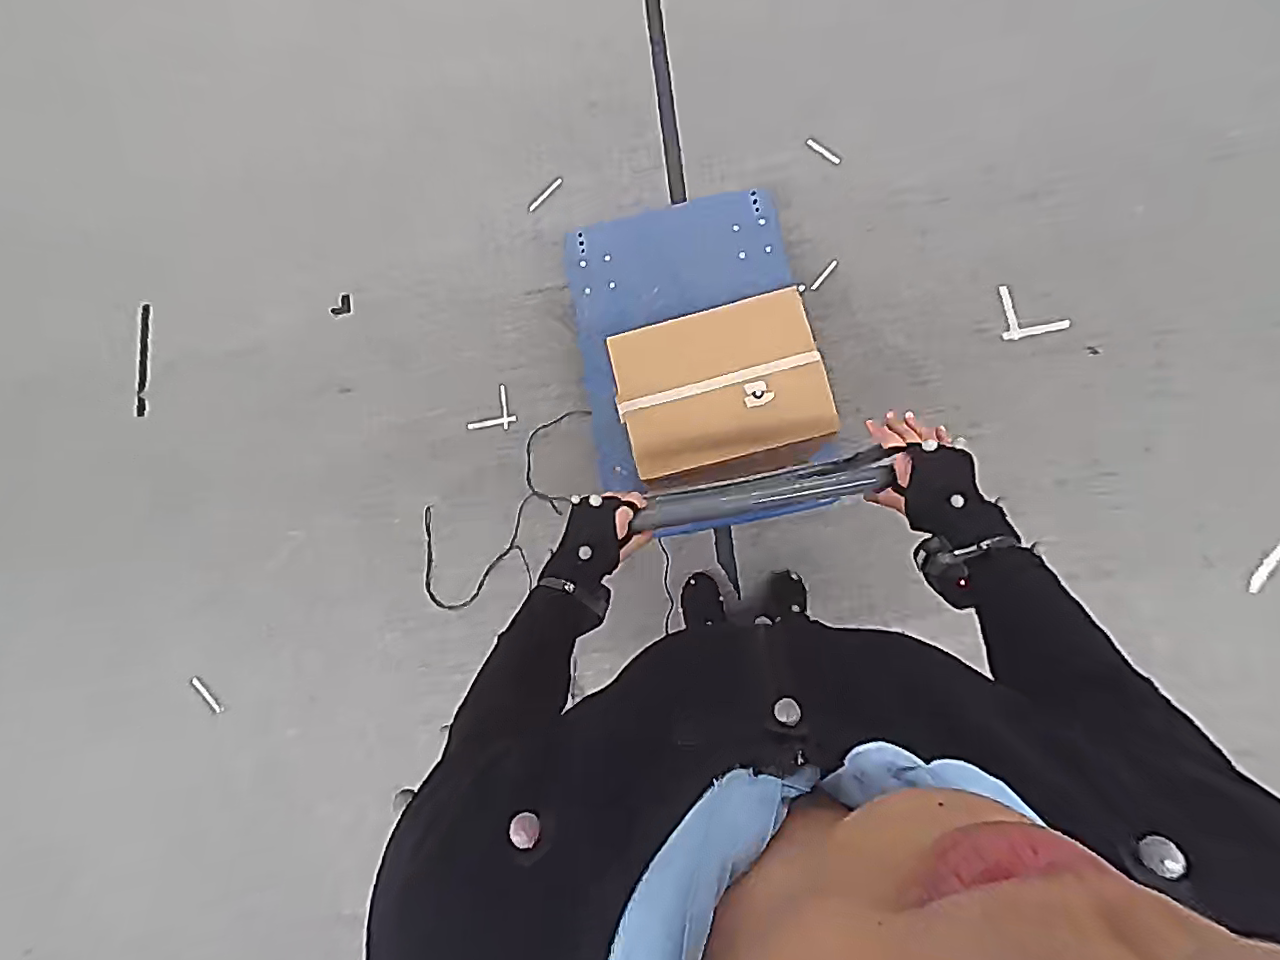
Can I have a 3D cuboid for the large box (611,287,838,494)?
[{"bbox_3d":[0.178,-0.179,1.240,0.408,0.320,0.320,-14,81,4],"label":"large box"}]
